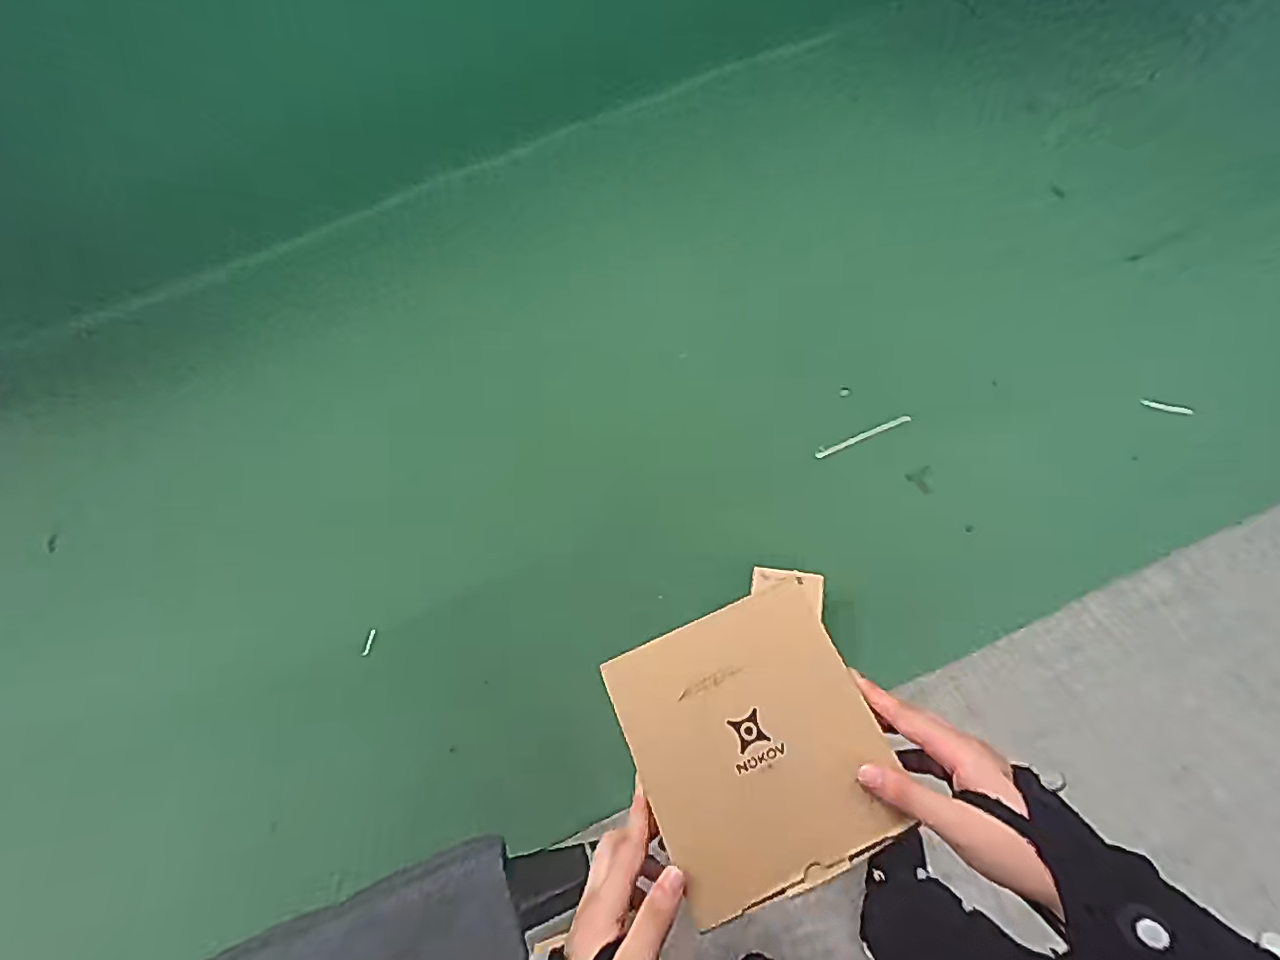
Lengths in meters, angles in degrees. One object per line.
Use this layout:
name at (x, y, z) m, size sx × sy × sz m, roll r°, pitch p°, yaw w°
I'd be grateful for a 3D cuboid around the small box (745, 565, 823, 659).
small box at (0.357, 0.333, 1.343) m, size 0.168 × 0.176 × 0.179 m, roll 6°, pitch 61°, yaw 16°

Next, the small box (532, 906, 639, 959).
small box at (-0.093, 0.963, 1.046) m, size 0.168 × 0.176 × 0.179 m, roll -19°, pitch 56°, yaw 0°
